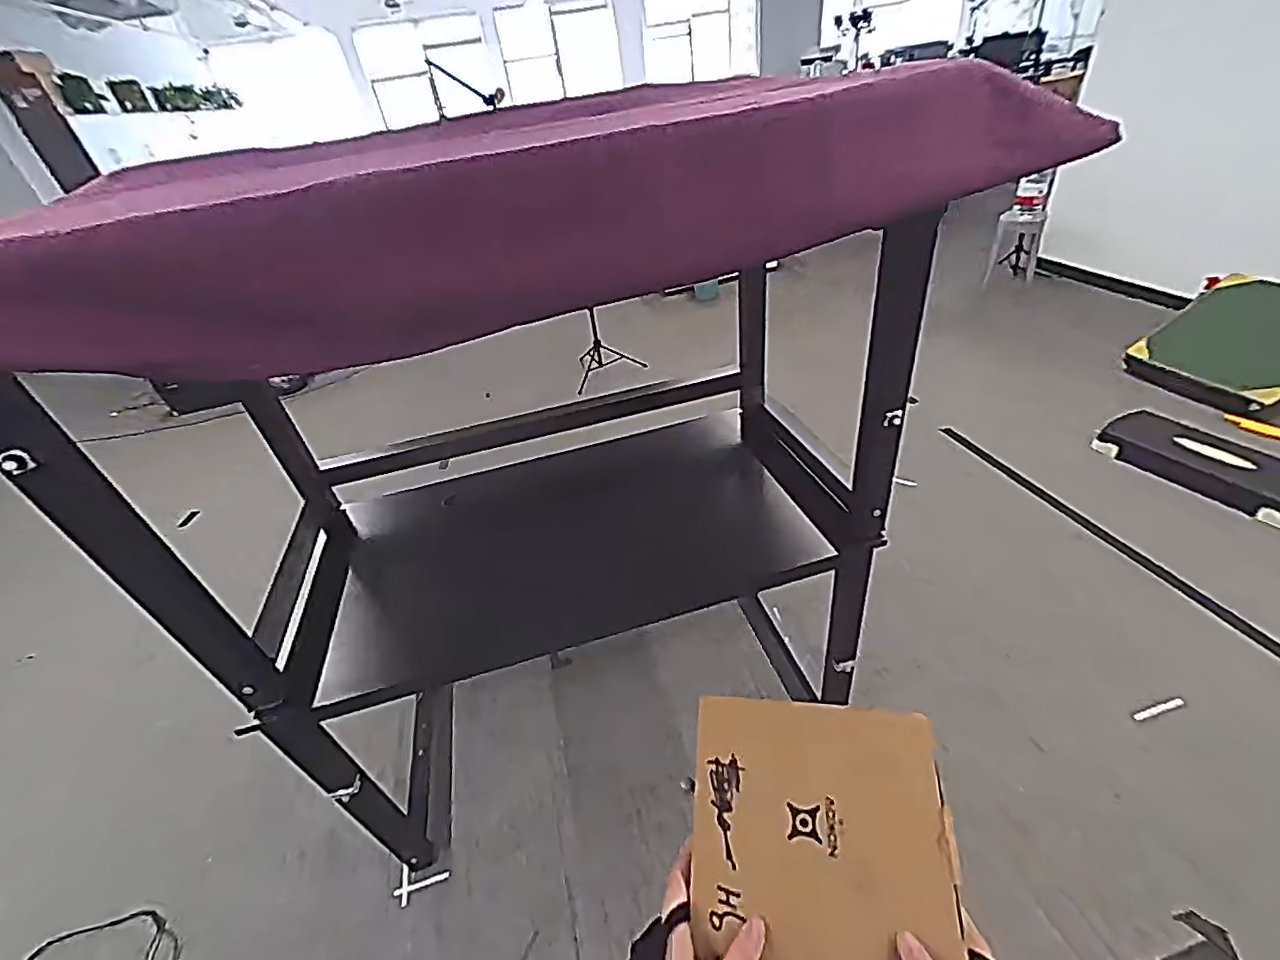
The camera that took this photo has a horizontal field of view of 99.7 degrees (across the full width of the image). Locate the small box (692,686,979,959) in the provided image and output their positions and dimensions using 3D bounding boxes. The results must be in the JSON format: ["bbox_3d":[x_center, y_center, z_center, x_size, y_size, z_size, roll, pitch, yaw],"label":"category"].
[{"bbox_3d":[0.138,0.280,0.442,0.179,0.176,0.168,1,55,10],"label":"small box"}]
